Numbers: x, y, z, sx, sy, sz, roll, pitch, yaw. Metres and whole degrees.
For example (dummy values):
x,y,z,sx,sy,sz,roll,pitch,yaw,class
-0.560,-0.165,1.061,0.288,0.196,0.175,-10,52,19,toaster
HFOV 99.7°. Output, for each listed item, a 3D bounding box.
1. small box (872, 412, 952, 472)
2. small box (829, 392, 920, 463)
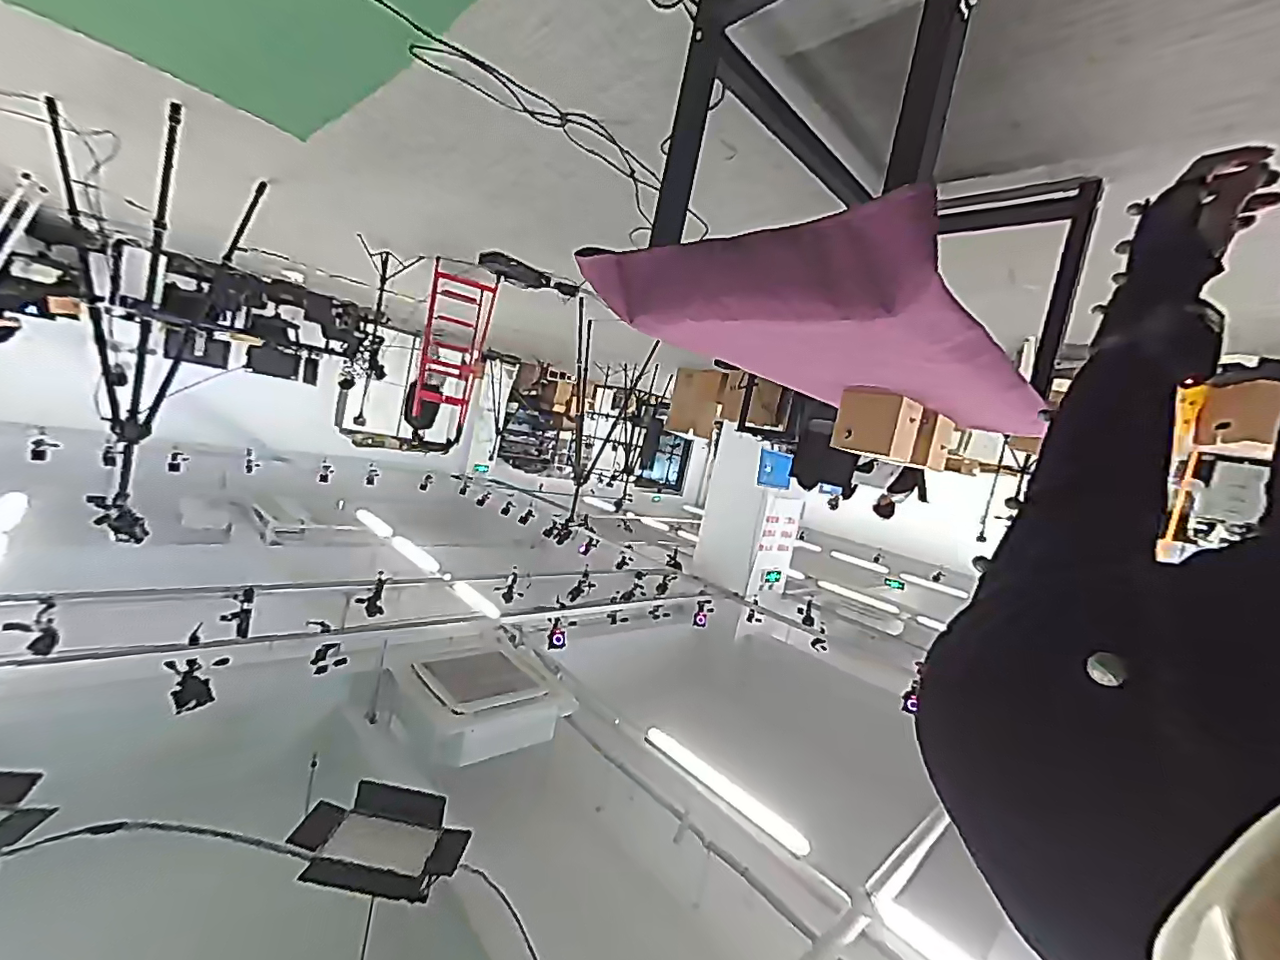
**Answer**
x,y,z,sx,sy,sz,roll,pitch,yaw,class
0.871,-0.128,1.726,0.179,0.176,0.168,6,-173,-46,small box
0.678,-0.155,1.560,0.179,0.176,0.168,15,-174,43,small box
